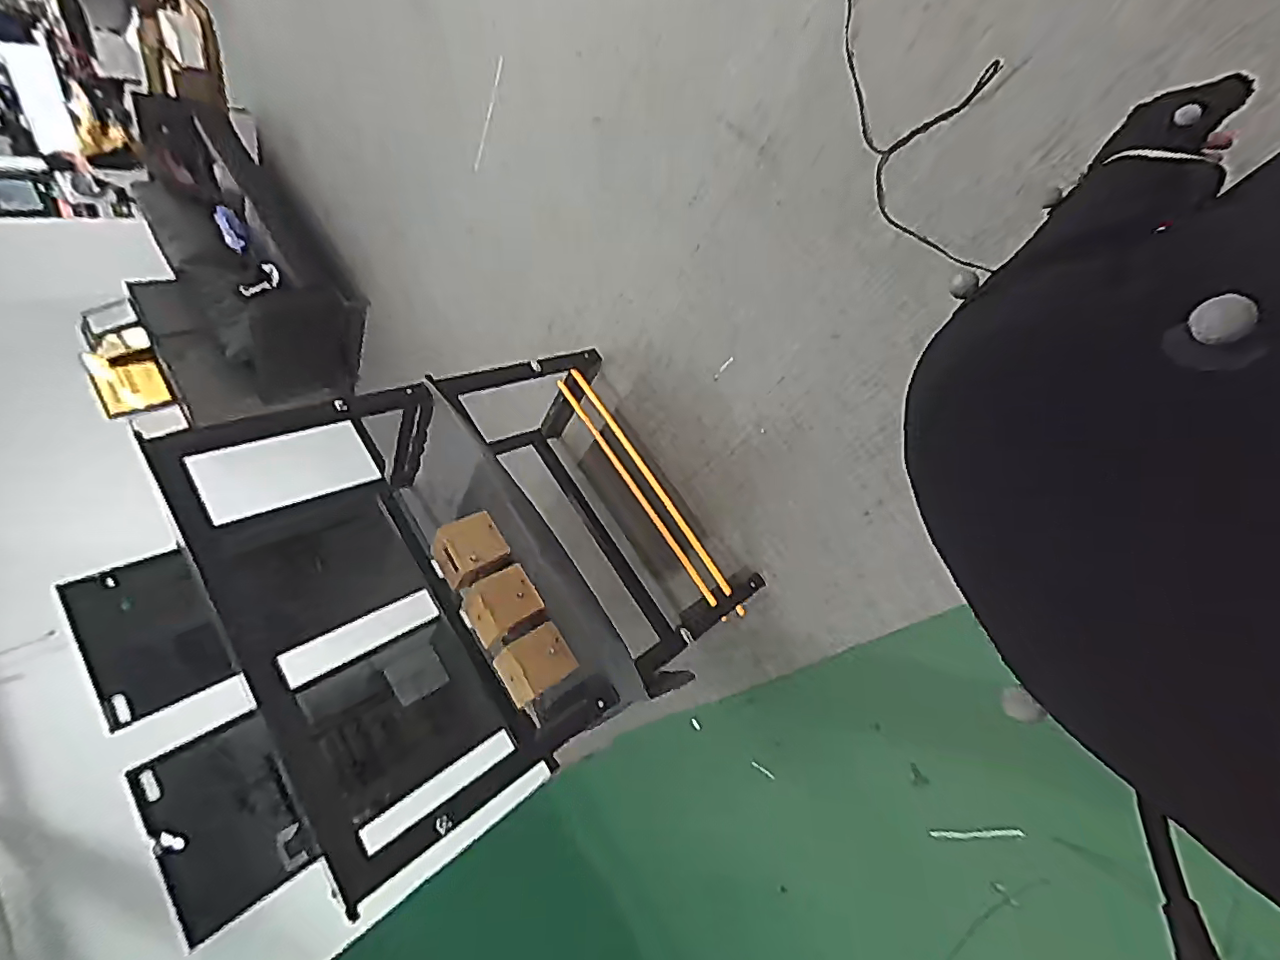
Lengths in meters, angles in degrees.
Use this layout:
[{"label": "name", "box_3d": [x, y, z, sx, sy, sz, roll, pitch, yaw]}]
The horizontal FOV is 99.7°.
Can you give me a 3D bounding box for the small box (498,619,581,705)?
[{"label": "small box", "box_3d": [-0.307, 0.559, 1.665, 0.168, 0.176, 0.179, 54, 139, 13]}]
